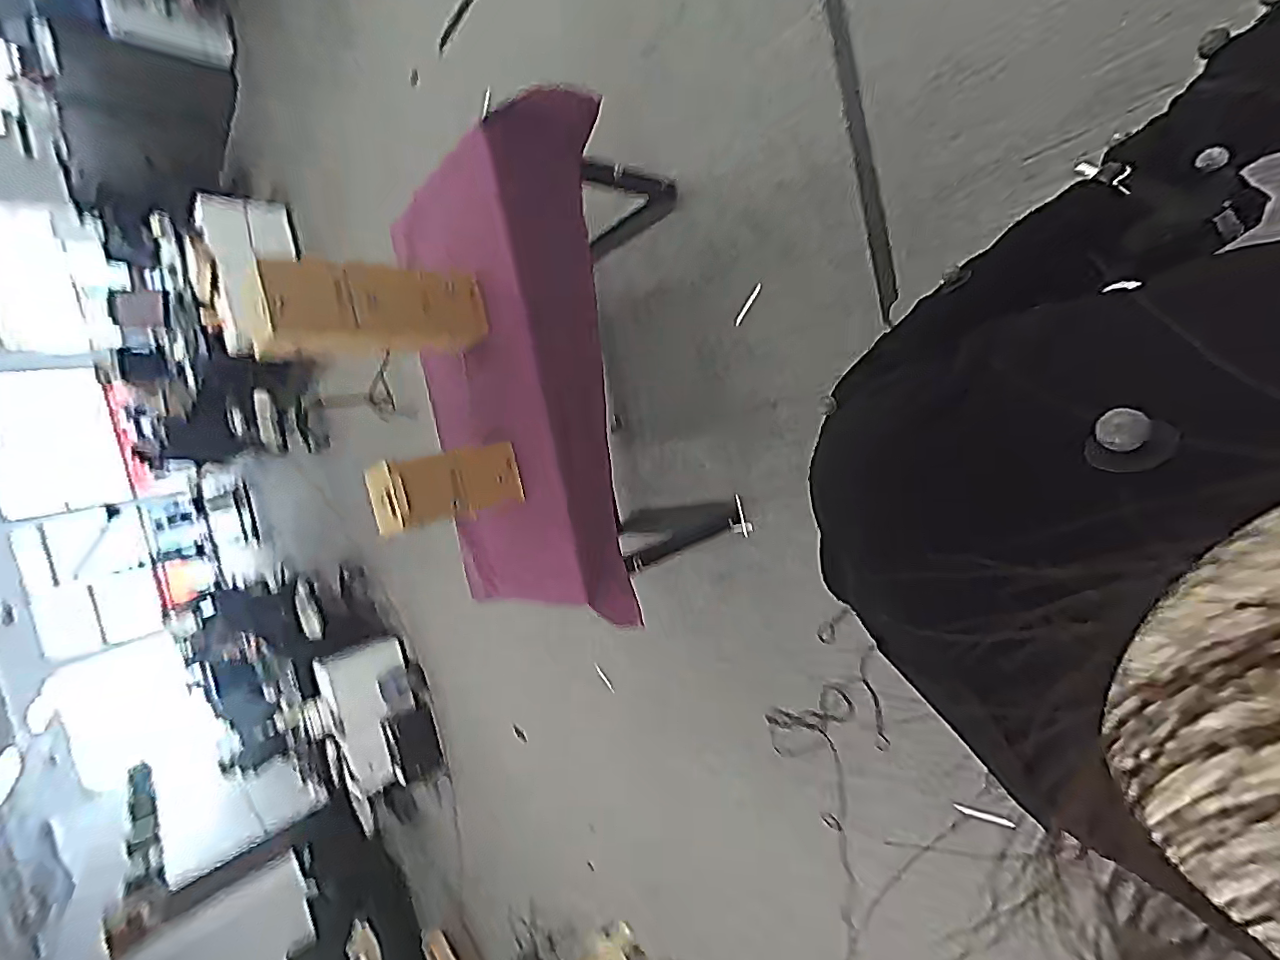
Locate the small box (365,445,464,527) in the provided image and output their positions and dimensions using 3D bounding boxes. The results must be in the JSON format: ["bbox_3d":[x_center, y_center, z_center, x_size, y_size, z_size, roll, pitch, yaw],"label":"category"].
[{"bbox_3d":[-0.560,0.015,1.362,0.179,0.176,0.168,-11,93,46],"label":"small box"}]

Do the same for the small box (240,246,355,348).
[{"bbox_3d":[-0.756,-0.396,1.198,0.179,0.176,0.168,-9,96,46],"label":"small box"}]

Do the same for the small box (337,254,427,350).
[{"bbox_3d":[-0.638,-0.425,1.308,0.168,0.176,0.179,-10,94,45],"label":"small box"}]

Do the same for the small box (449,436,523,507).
[{"bbox_3d":[-0.447,-0.020,1.475,0.179,0.176,0.168,-10,95,45],"label":"small box"}]

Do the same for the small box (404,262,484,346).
[{"bbox_3d":[-0.527,-0.459,1.424,0.179,0.176,0.168,-8,96,46],"label":"small box"}]
